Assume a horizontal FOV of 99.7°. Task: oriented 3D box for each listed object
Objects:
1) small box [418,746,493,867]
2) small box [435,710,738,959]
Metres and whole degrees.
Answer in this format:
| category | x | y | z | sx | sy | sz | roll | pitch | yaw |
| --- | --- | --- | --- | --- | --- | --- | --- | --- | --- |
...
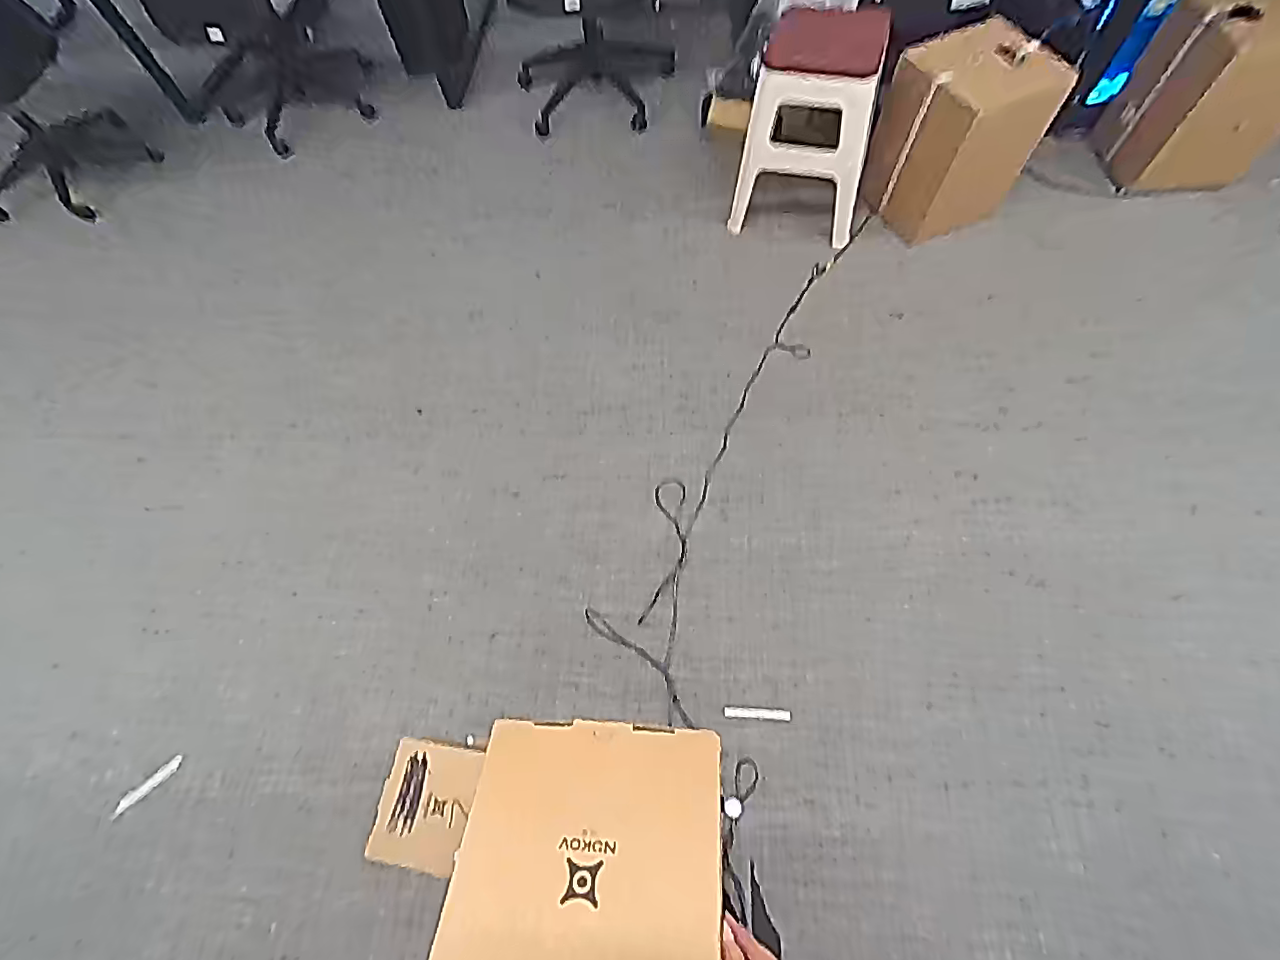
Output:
| category | x | y | z | sx | sy | sz | roll | pitch | yaw |
| --- | --- | --- | --- | --- | --- | --- | --- | --- | --- |
| small box | -0.281 | 0.614 | 1.022 | 0.168 | 0.176 | 0.179 | 6 | 65 | 9 |
| small box | -0.017 | 0.283 | 0.374 | 0.168 | 0.176 | 0.179 | -1 | 44 | 8 |
